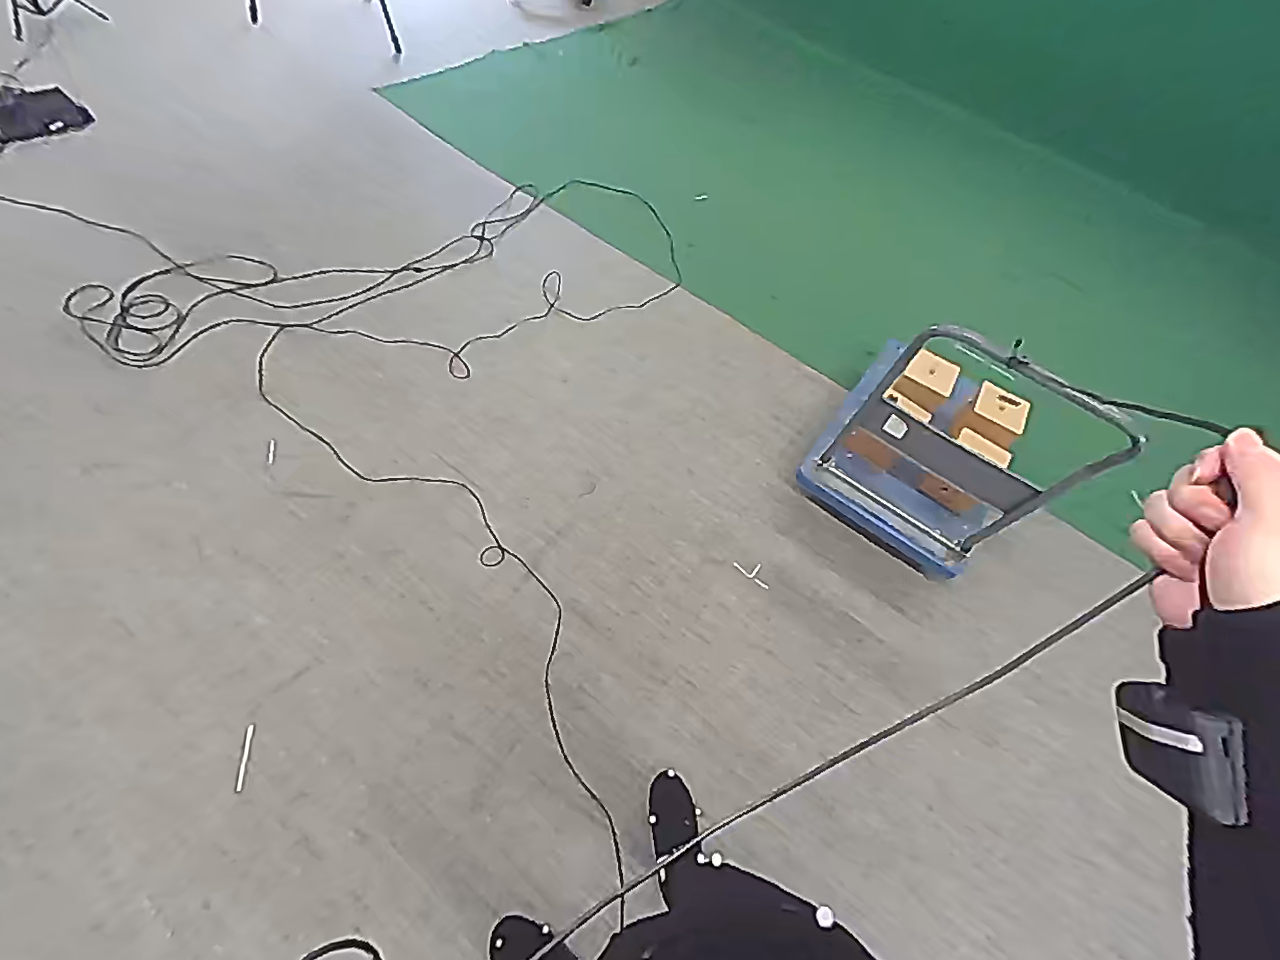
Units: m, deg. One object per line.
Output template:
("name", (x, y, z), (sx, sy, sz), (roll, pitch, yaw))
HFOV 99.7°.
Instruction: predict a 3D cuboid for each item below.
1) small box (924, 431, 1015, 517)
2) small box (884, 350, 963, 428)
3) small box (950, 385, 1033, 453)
("small box", (1.050, -0.017, 1.734), (0.168, 0.176, 0.179), (36, 60, 14))
("small box", (0.998, -0.317, 1.917), (0.168, 0.176, 0.179), (32, 58, 11))
("small box", (1.209, -0.188, 1.868), (0.168, 0.176, 0.179), (32, 59, 12))
